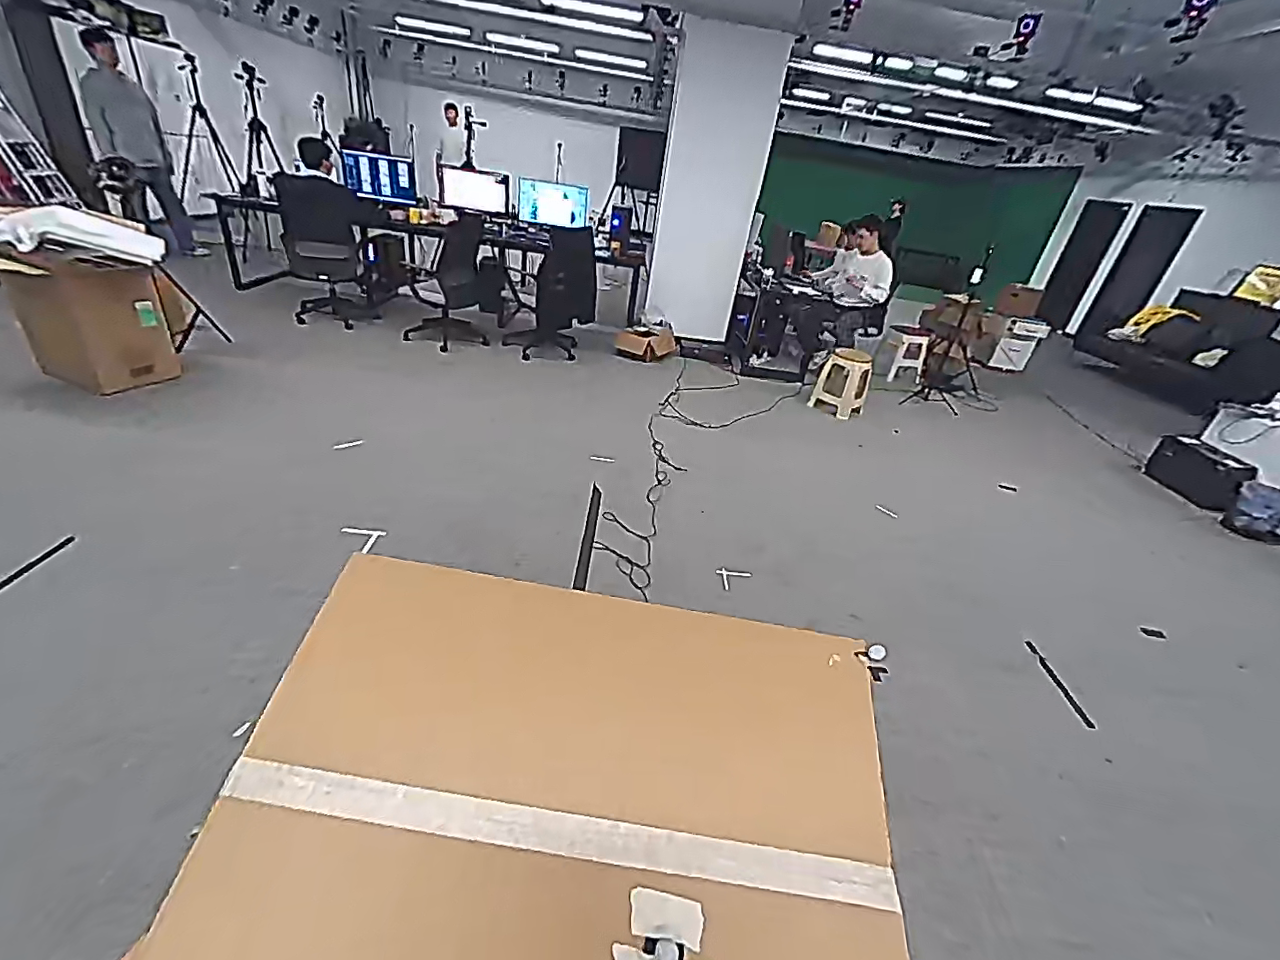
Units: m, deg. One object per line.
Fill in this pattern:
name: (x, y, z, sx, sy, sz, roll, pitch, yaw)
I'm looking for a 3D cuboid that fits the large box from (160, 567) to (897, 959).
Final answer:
large box: (-0.060, 0.306, 0.449, 0.408, 0.320, 0.320, 10, 53, 0)
